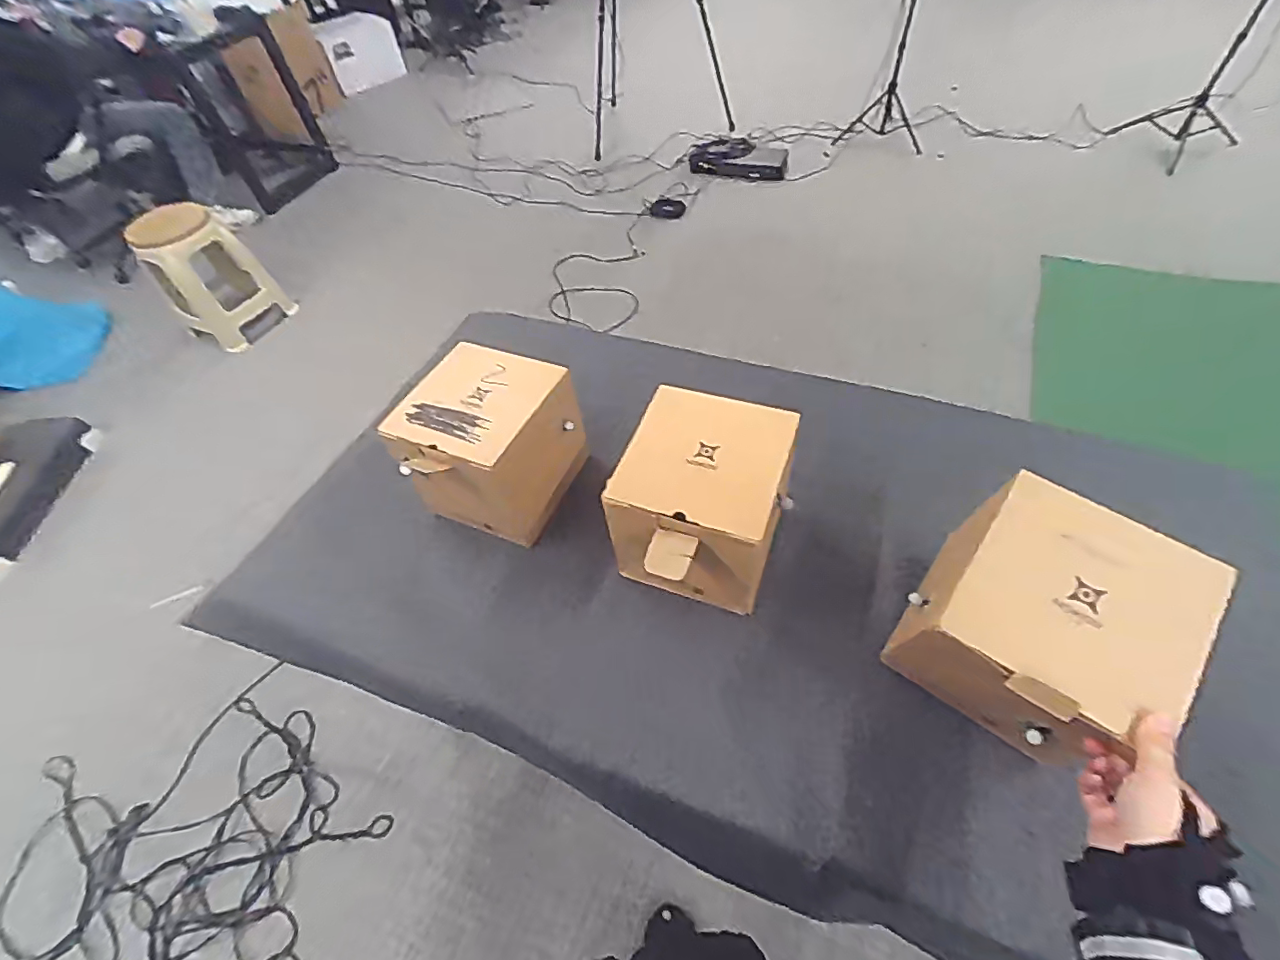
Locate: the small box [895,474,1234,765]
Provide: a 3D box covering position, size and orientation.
[{"bbox_3d":[0.361,0.133,0.498,0.168,0.176,0.179,32,70,21],"label":"small box"}]

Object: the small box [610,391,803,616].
[{"bbox_3d":[0.079,0.029,0.633,0.168,0.176,0.179,15,56,17],"label":"small box"}]
